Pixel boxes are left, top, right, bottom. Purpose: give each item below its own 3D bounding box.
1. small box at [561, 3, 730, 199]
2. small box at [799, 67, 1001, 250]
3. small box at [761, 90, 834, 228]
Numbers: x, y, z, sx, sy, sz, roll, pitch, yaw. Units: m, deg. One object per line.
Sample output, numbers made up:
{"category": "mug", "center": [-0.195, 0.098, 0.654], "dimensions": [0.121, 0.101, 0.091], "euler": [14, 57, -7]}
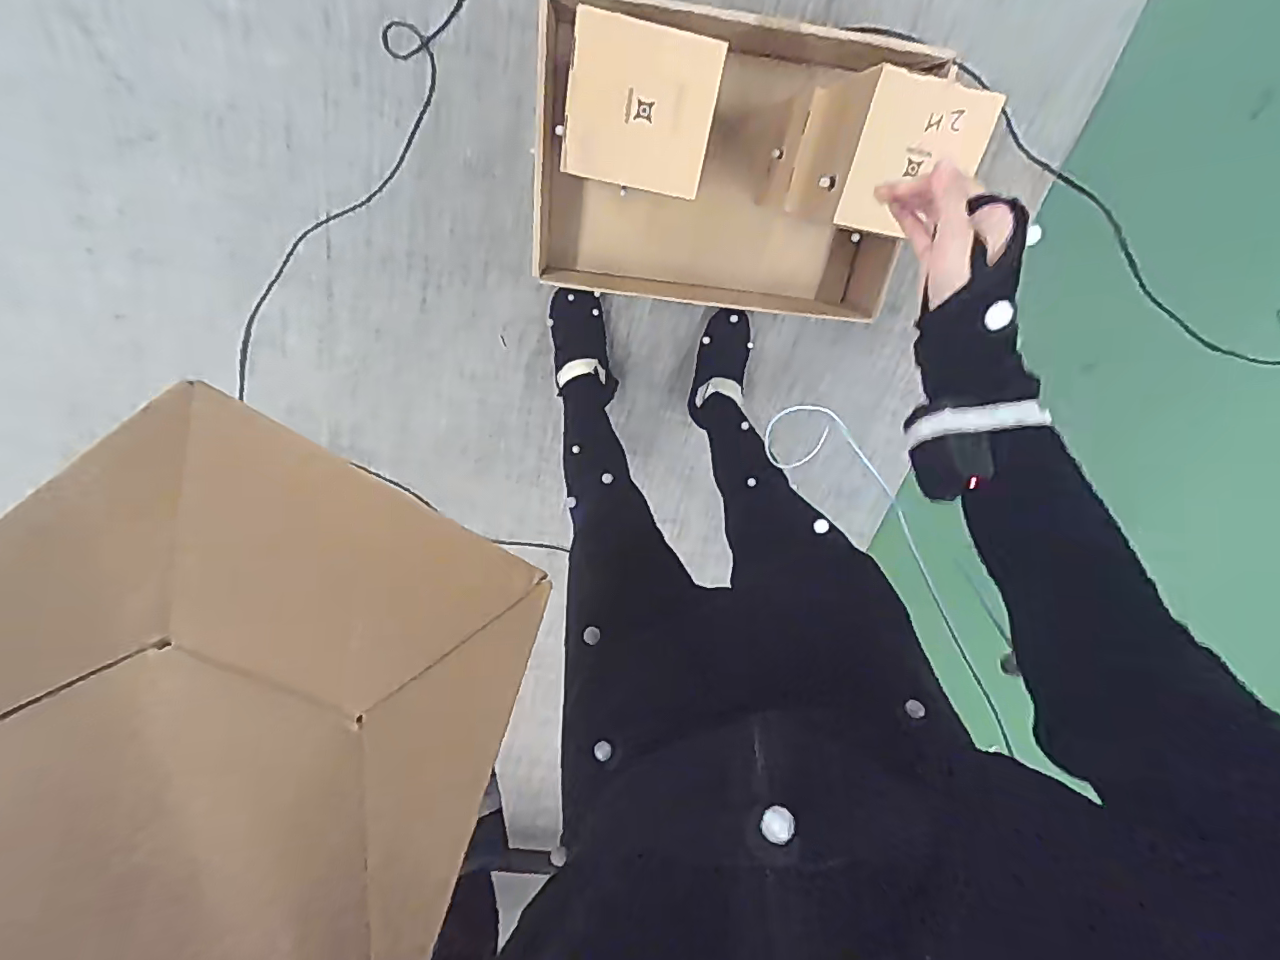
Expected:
{"category": "small box", "center": [-0.002, -0.480, 0.713], "dimensions": [0.179, 0.176, 0.168], "euler": [9, 119, -9]}
{"category": "small box", "center": [0.343, -0.438, 0.758], "dimensions": [0.168, 0.176, 0.179], "euler": [8, 116, -9]}
{"category": "small box", "center": [0.319, -0.519, 0.900], "dimensions": [0.179, 0.176, 0.168], "euler": [9, 117, -8]}
